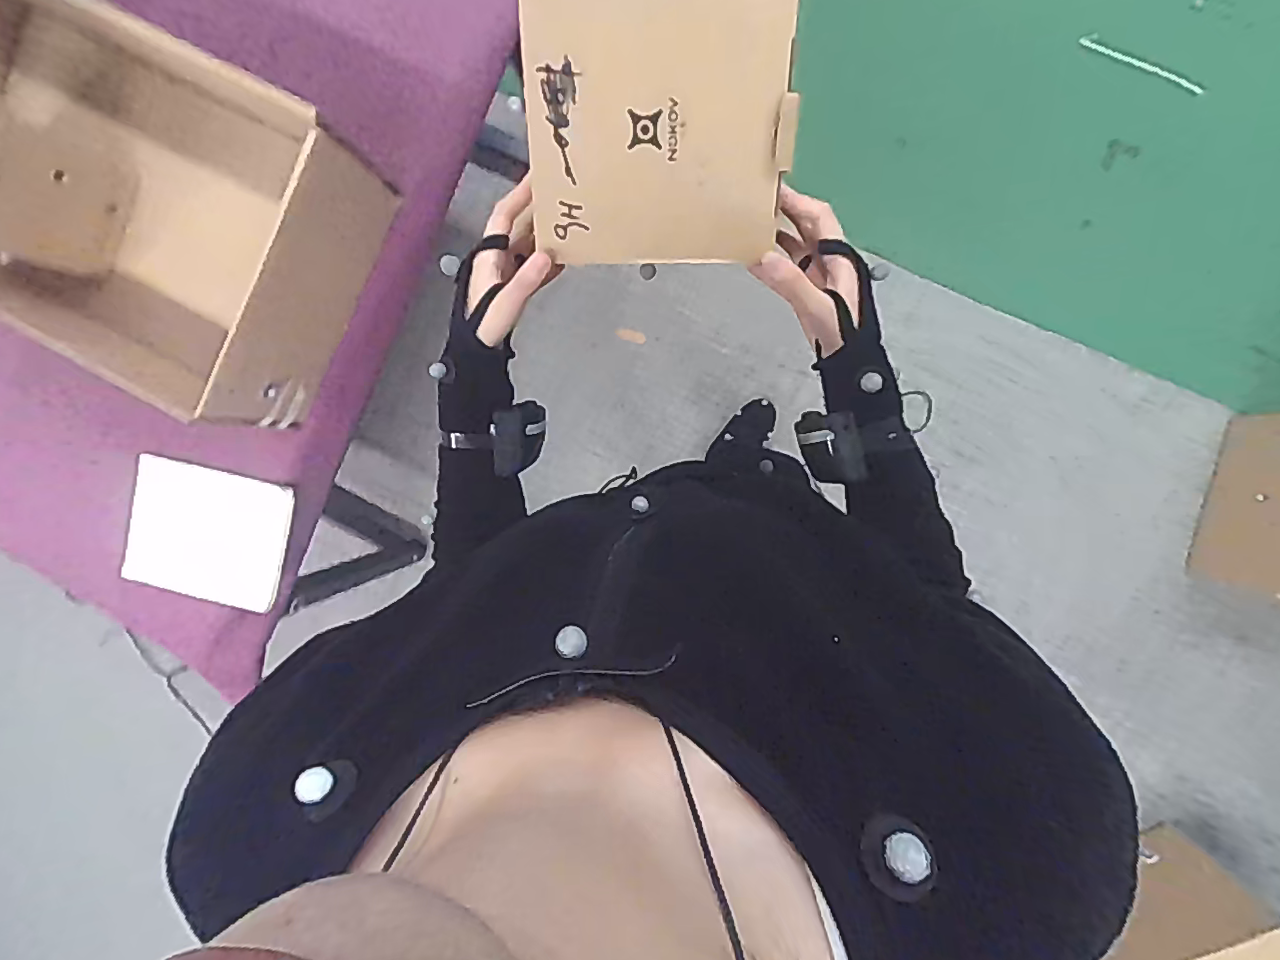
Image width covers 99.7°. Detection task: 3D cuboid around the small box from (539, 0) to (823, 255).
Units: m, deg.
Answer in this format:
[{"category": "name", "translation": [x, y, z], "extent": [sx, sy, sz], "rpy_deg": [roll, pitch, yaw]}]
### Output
[{"category": "small box", "translation": [0.018, -0.270, 0.424], "extent": [0.179, 0.176, 0.168], "rpy_deg": [0, 113, -4]}]
